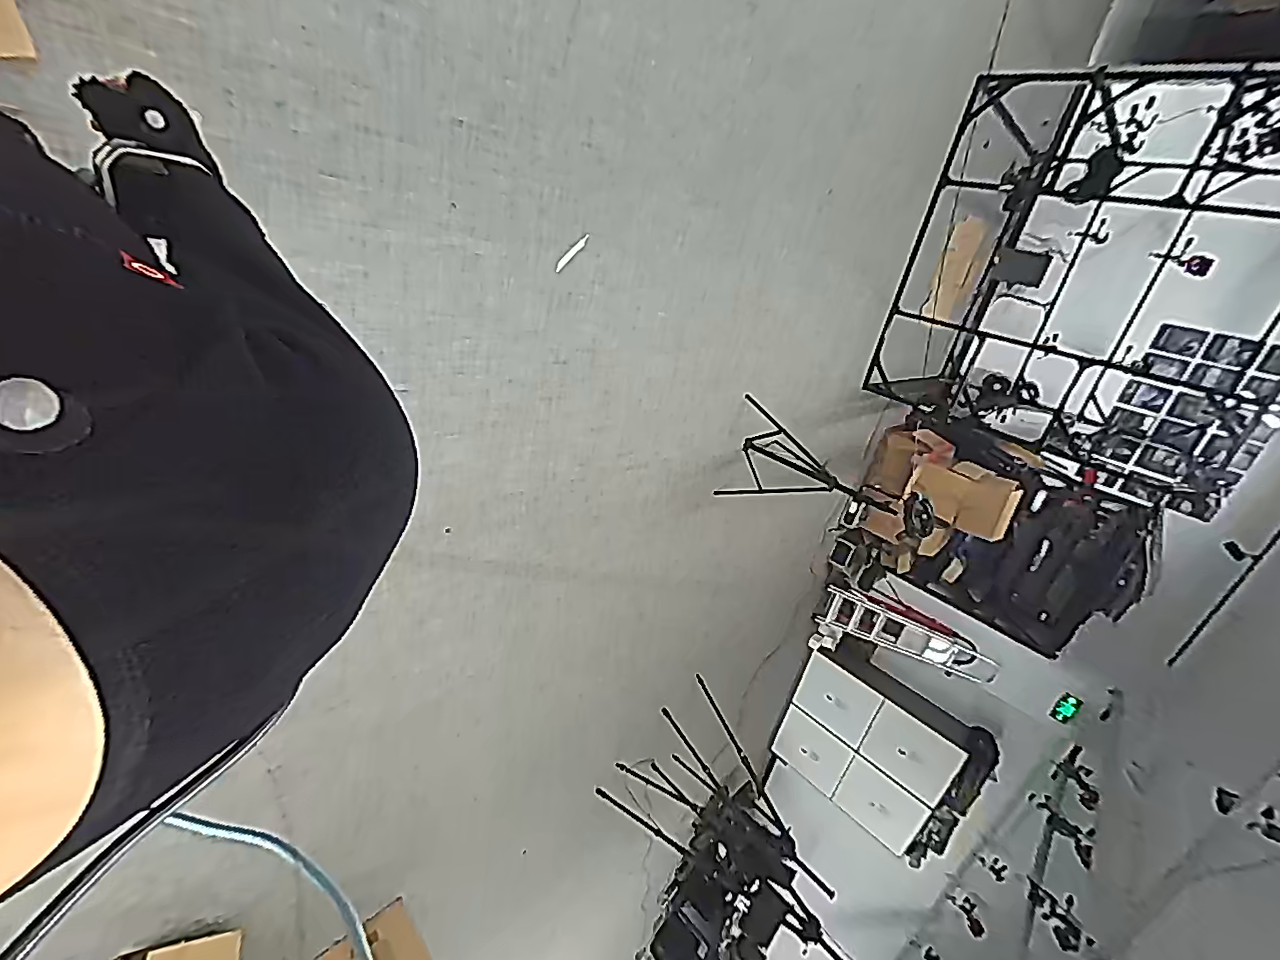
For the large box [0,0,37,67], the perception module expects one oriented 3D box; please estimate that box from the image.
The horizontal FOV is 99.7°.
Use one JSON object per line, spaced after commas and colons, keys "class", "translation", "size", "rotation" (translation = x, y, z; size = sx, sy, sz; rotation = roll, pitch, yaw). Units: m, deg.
{"class": "large box", "translation": [-1.034, -0.671, 0.599], "size": [0.408, 0.320, 0.320], "rotation": [-28, 133, -37]}
